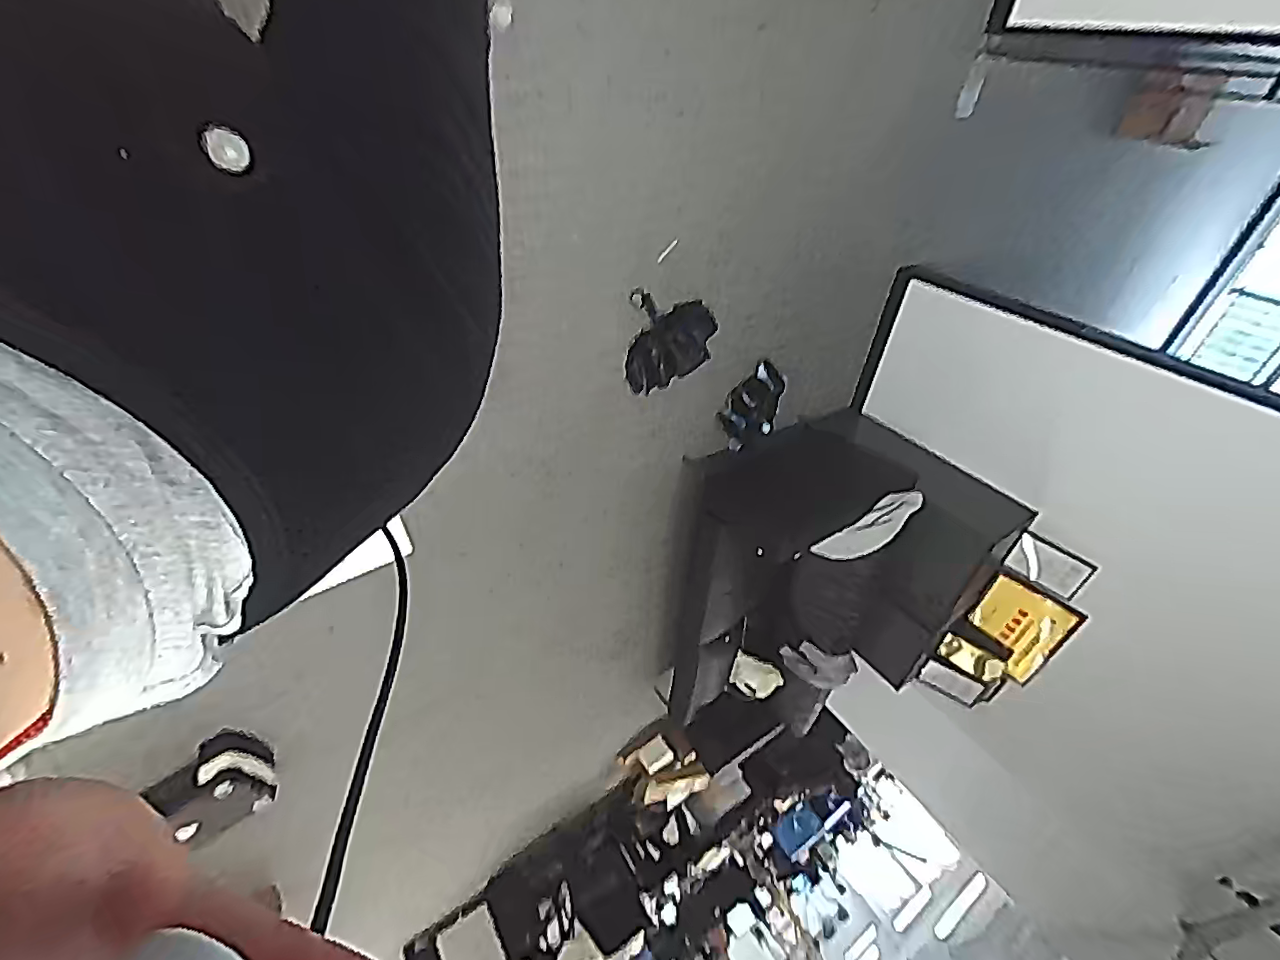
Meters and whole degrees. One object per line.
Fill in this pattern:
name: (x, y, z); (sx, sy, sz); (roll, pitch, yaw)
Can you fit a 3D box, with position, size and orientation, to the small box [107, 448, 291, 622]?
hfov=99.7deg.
small box: (-0.683, 0.081, 0.850); (0.168, 0.176, 0.179); (-24, 139, -26)
